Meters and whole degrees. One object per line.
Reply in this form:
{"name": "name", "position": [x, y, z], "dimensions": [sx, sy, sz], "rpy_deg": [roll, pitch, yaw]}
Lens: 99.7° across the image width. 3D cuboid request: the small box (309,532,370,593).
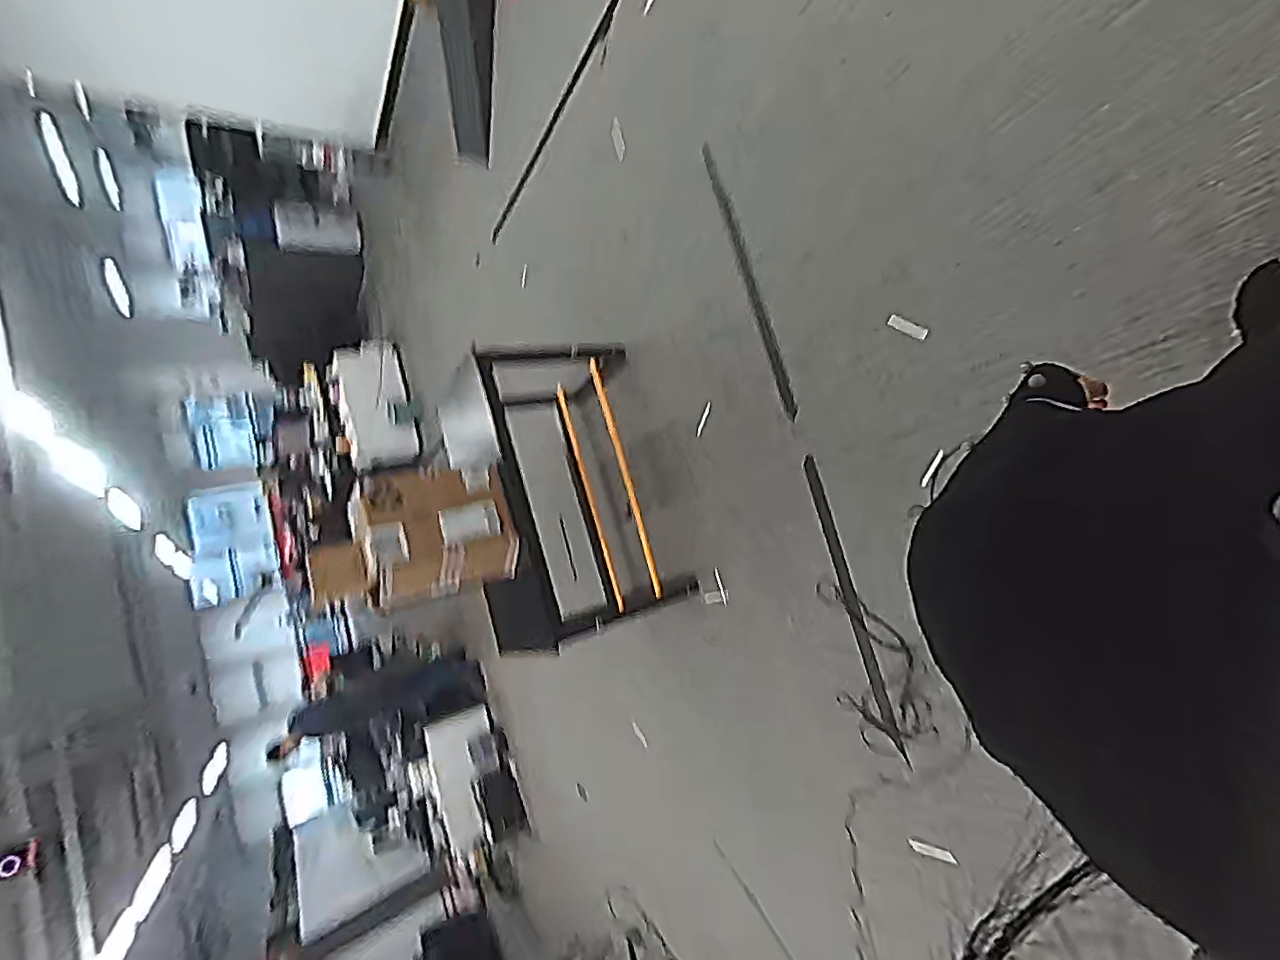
{"name": "small box", "position": [-1.084, 0.299, 1.951], "dimensions": [0.179, 0.176, 0.168], "rpy_deg": [-35, 70, 54]}
